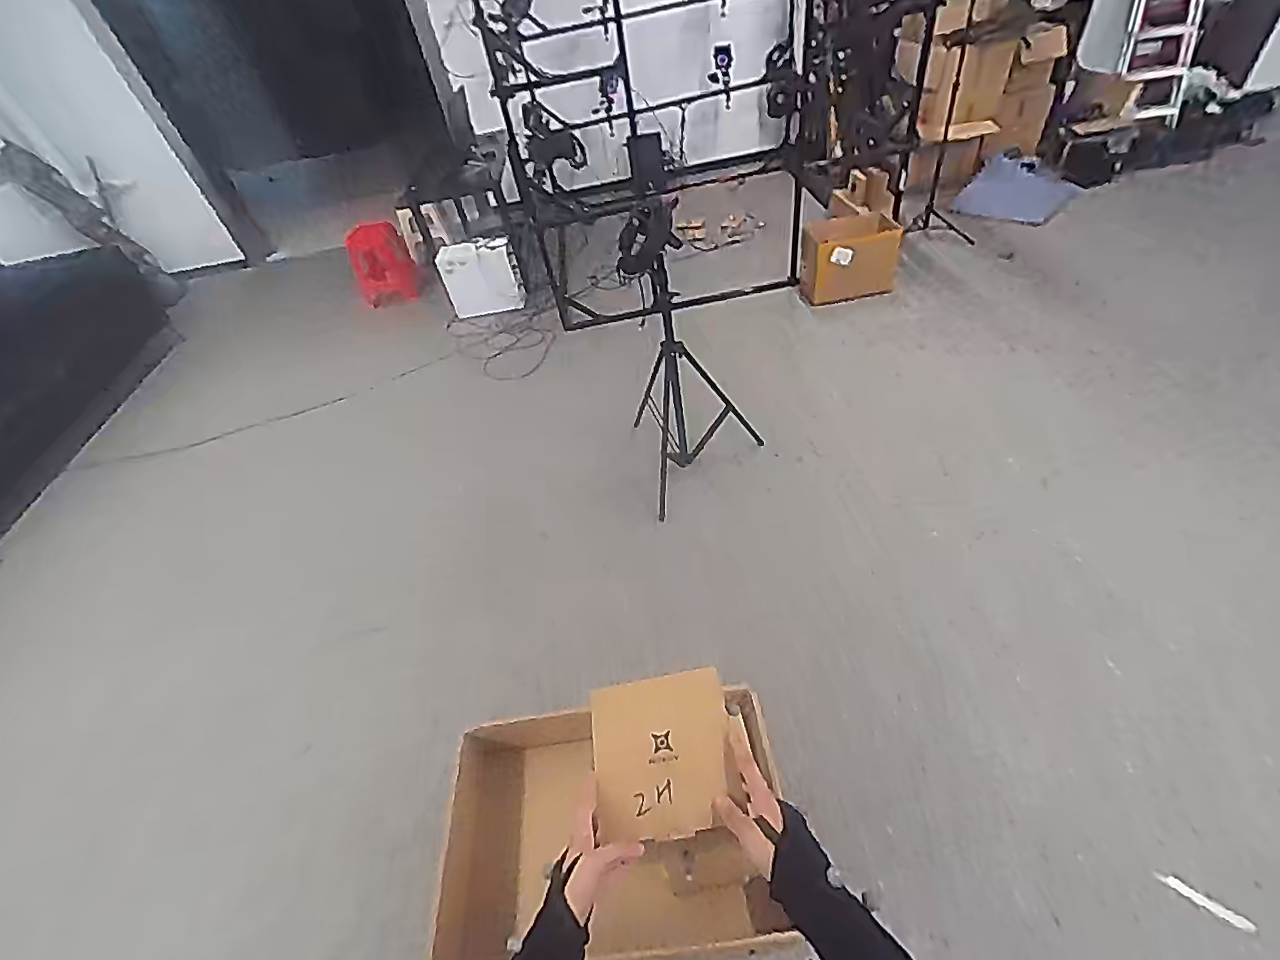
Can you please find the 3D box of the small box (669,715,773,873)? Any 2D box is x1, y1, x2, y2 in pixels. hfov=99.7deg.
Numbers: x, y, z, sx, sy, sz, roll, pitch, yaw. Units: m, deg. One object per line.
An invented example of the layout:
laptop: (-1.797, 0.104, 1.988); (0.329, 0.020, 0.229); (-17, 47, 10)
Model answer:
small box: (0.109, 0.507, 0.866); (0.168, 0.176, 0.179); (-11, 44, 0)

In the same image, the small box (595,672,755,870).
small box: (0.045, 0.371, 0.686); (0.168, 0.176, 0.179); (-13, 49, 4)
